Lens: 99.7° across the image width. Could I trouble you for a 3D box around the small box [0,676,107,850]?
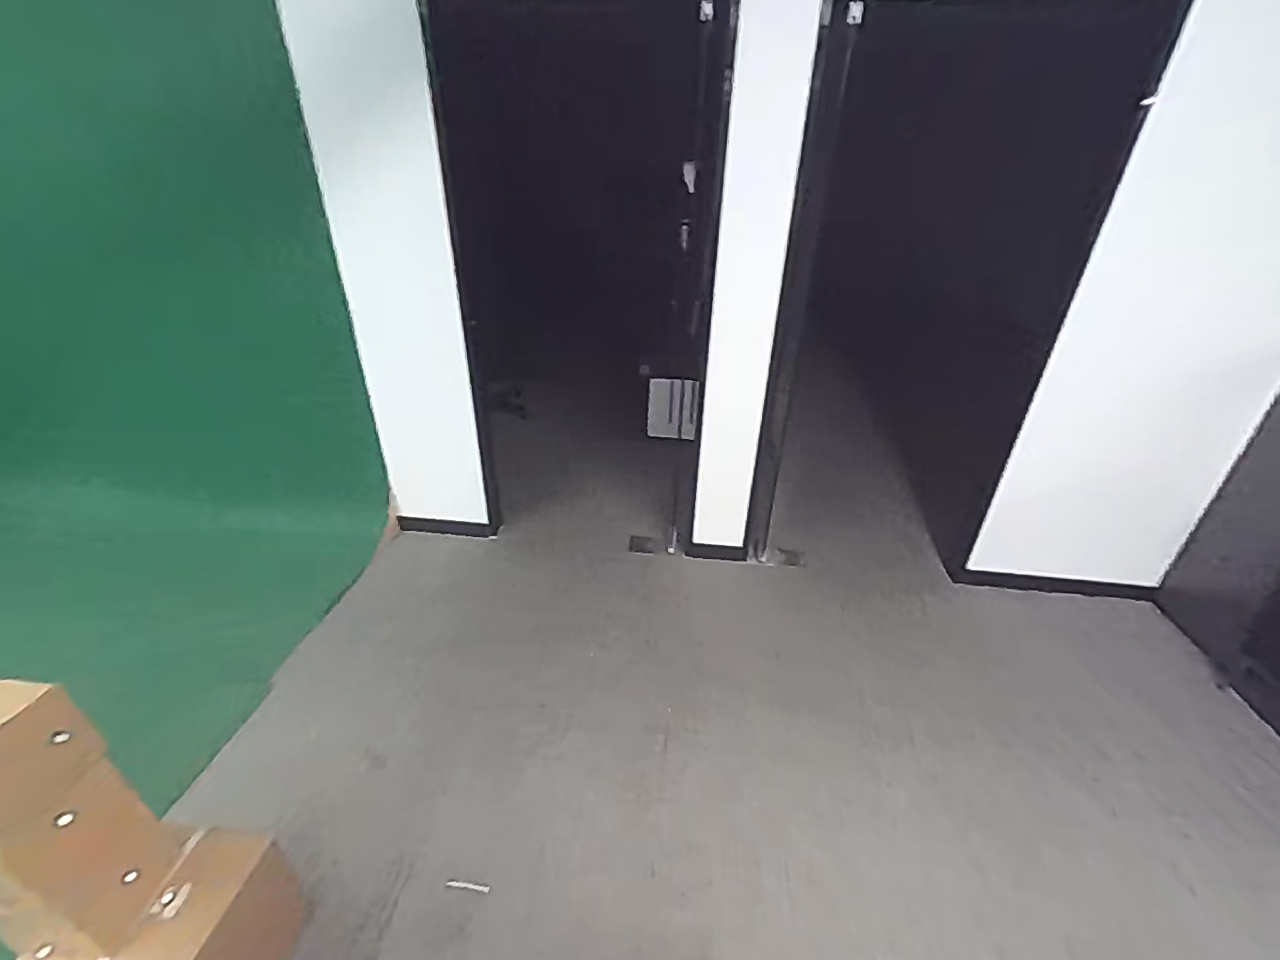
[{"bbox_3d":[-1.010,0.440,0.853,0.168,0.176,0.179,2,30,8],"label":"small box"}]
